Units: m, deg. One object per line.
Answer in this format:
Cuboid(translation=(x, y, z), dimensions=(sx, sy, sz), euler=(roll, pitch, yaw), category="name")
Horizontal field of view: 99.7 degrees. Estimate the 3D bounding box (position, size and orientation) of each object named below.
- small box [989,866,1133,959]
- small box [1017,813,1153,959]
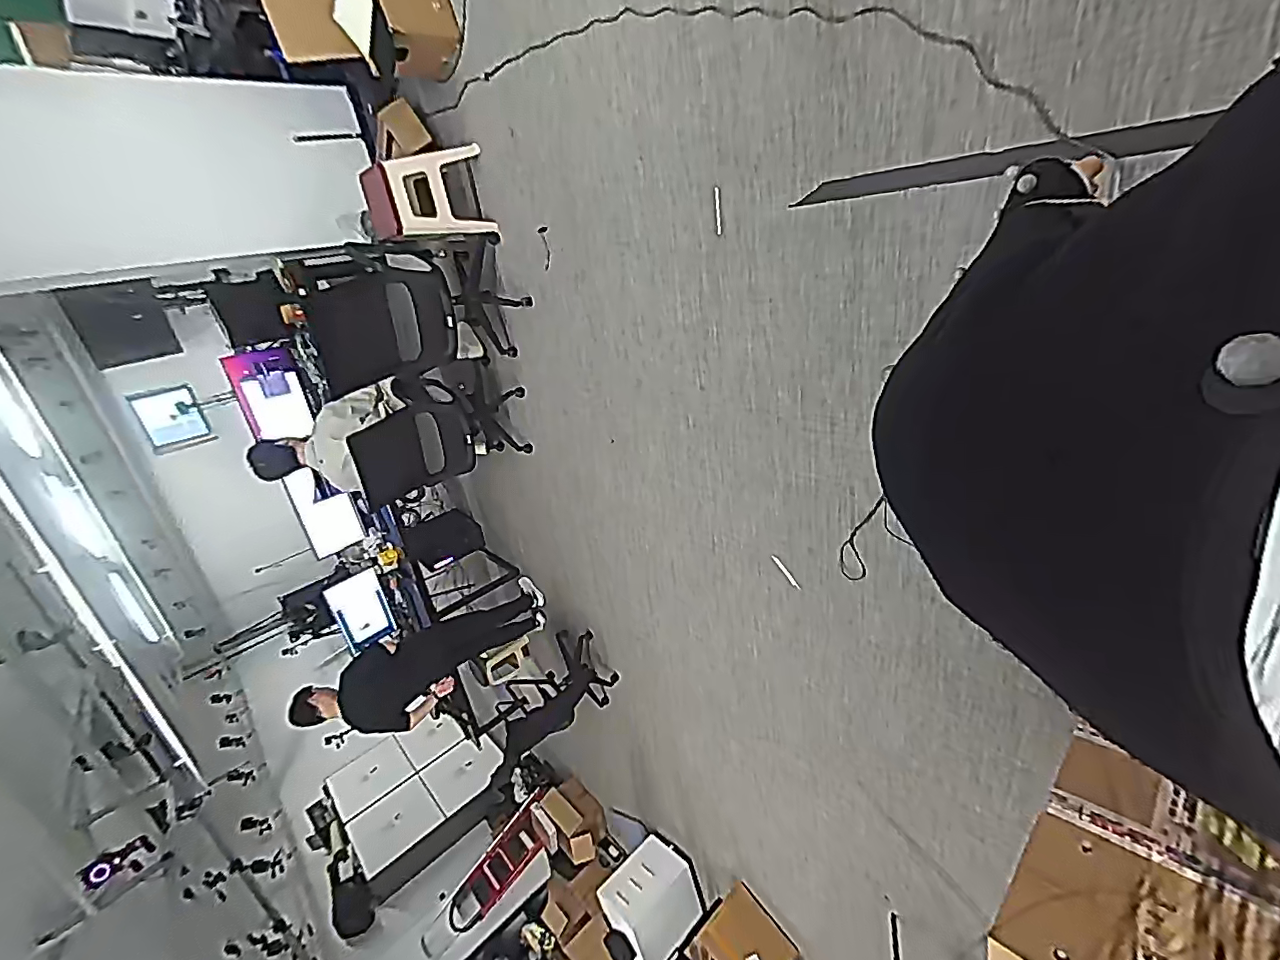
Cuboid(translation=(0.753, 0.854, 0.969), dimensions=(0.179, 0.176, 0.168), euler=(8, 114, 50), category="small box")
Cuboid(translation=(0.876, 0.807, 1.070), dimensions=(0.179, 0.176, 0.168), euler=(8, 114, 50), category="small box")
